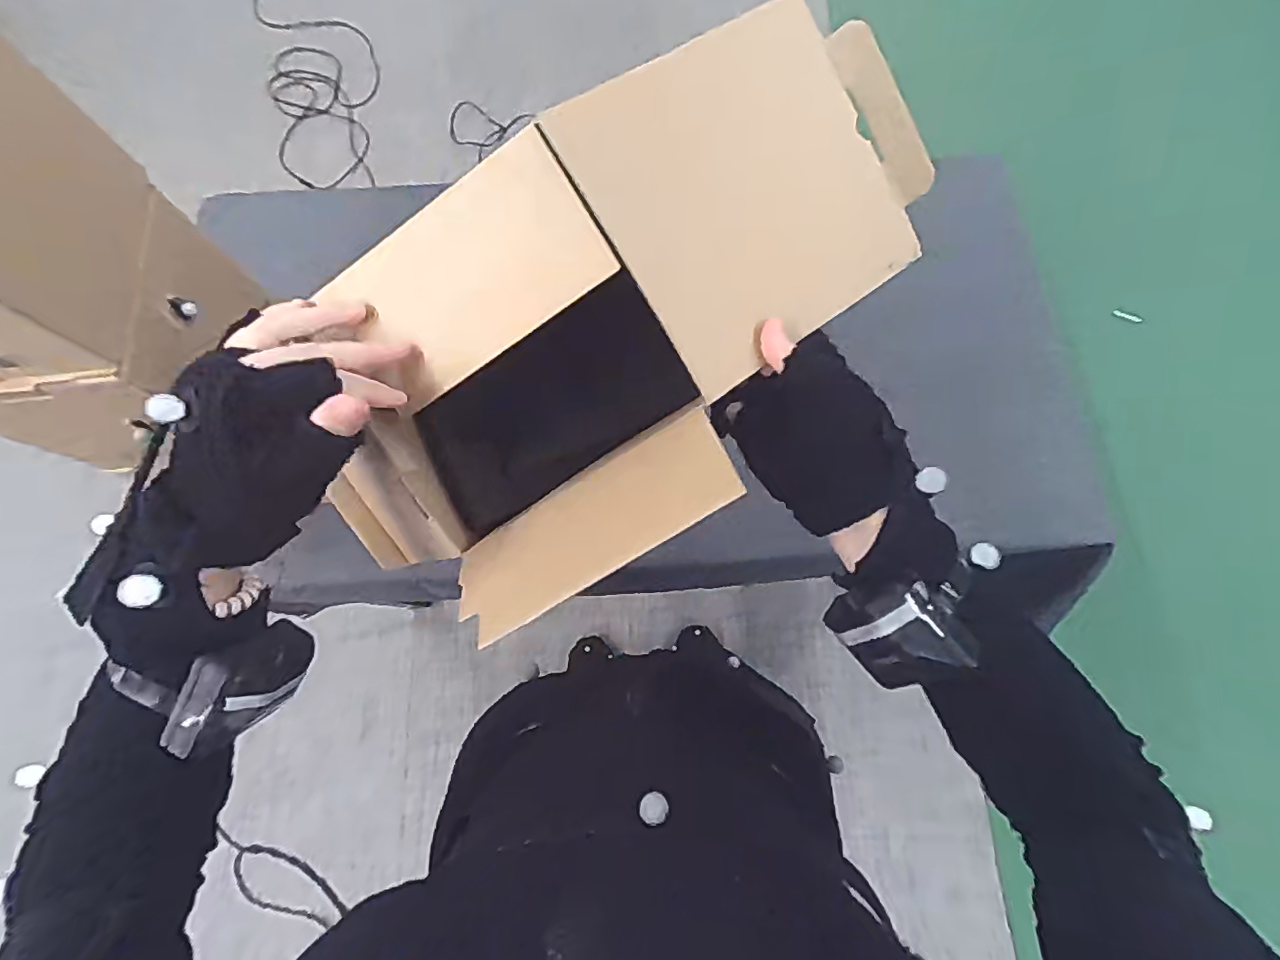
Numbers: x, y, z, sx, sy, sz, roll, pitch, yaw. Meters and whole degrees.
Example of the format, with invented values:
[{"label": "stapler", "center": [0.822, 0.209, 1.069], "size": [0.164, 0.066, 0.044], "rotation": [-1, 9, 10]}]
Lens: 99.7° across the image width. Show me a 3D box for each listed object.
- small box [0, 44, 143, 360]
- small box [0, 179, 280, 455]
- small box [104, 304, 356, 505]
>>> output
[{"label": "small box", "center": [-0.459, -0.181, 0.327], "size": [0.168, 0.176, 0.179], "rotation": [-6, 74, -3]}, {"label": "small box", "center": [-0.458, -0.128, 0.482], "size": [0.168, 0.176, 0.179], "rotation": [-5, 74, -2]}, {"label": "small box", "center": [-0.458, -0.080, 0.638], "size": [0.168, 0.176, 0.179], "rotation": [-6, 74, -2]}]
